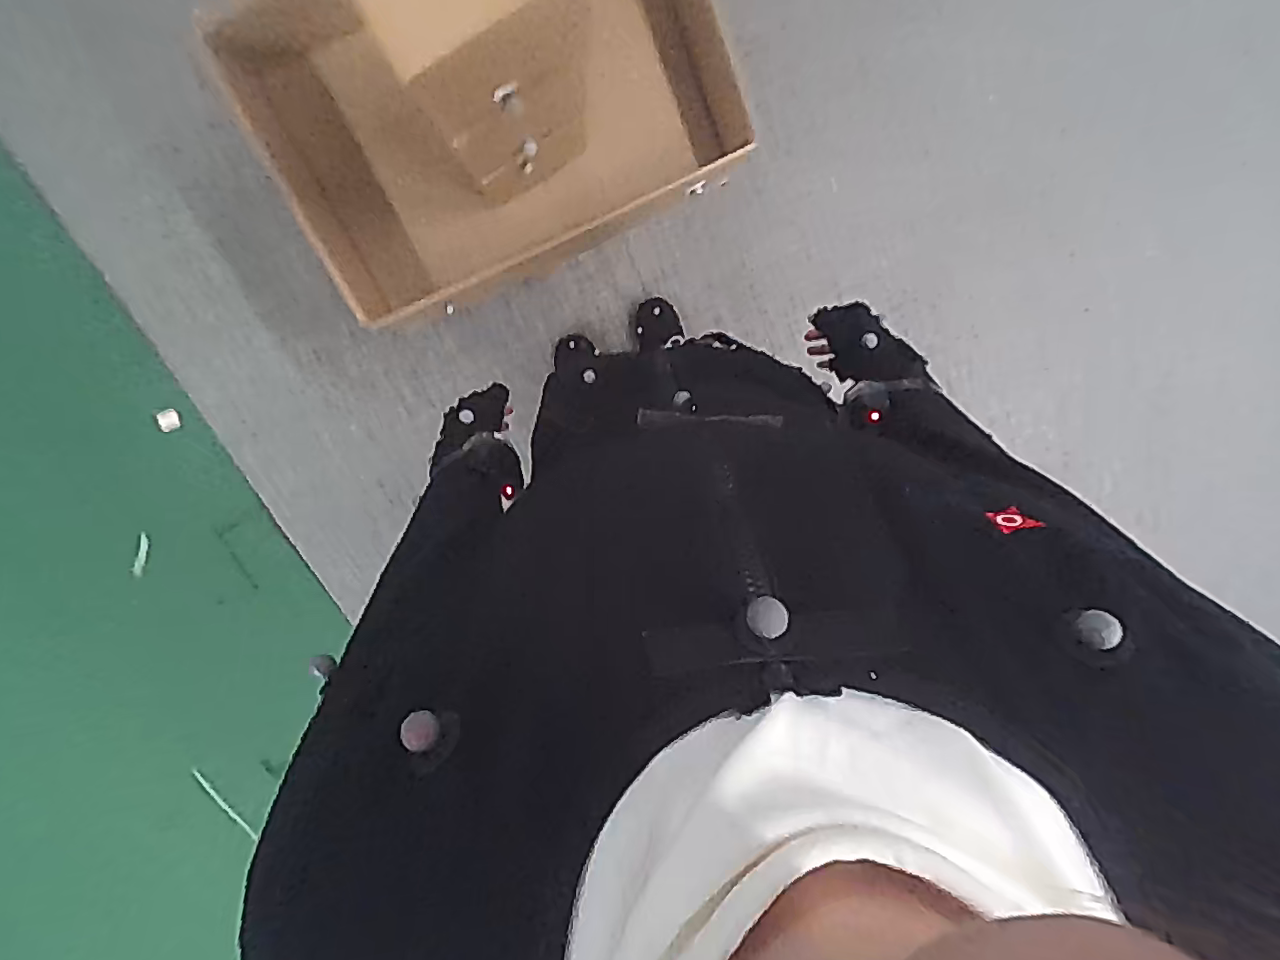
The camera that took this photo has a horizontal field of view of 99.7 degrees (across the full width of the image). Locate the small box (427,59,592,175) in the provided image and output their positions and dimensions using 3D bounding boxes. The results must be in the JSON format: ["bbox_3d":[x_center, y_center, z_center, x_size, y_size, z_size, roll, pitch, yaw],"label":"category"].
[{"bbox_3d":[-0.167,-0.475,0.596,0.168,0.176,0.179,-29,108,4],"label":"small box"}]

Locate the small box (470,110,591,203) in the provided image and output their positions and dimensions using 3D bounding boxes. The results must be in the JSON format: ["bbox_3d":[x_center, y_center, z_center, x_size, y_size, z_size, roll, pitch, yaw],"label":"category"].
[{"bbox_3d":[-0.182,-0.521,0.753,0.168,0.176,0.179,-30,107,5],"label":"small box"}]

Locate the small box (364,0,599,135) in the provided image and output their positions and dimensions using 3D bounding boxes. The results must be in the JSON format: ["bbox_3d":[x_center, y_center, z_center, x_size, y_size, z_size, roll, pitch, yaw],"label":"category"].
[{"bbox_3d":[-0.146,-0.429,0.442,0.168,0.176,0.179,-29,109,5],"label":"small box"}]
